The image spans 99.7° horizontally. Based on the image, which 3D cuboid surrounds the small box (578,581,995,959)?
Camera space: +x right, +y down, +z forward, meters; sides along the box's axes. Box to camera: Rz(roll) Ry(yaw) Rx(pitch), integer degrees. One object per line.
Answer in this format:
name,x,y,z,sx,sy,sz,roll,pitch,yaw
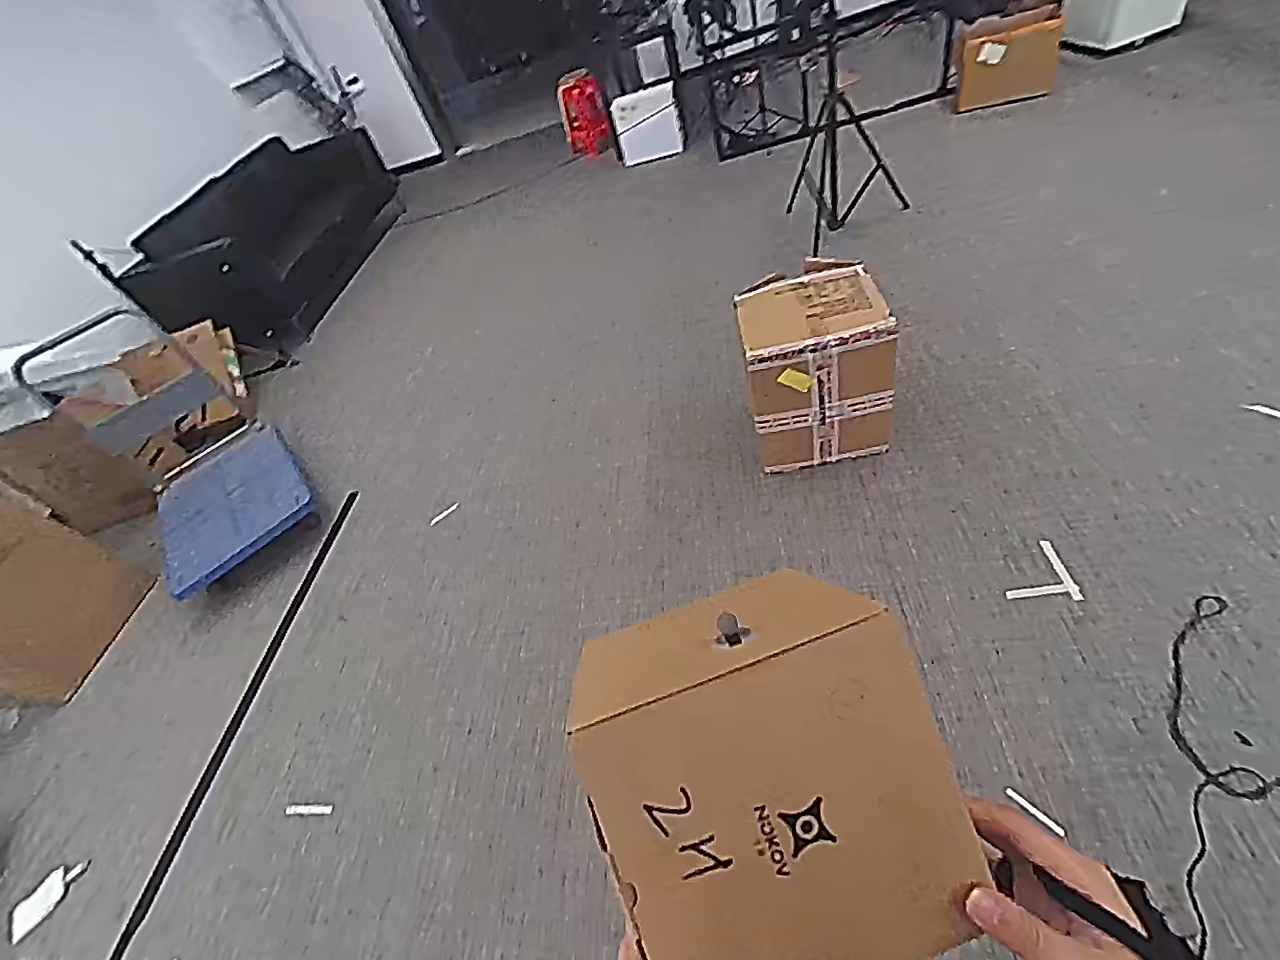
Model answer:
small box,0.070,0.175,0.349,0.179,0.176,0.168,-19,88,-3
